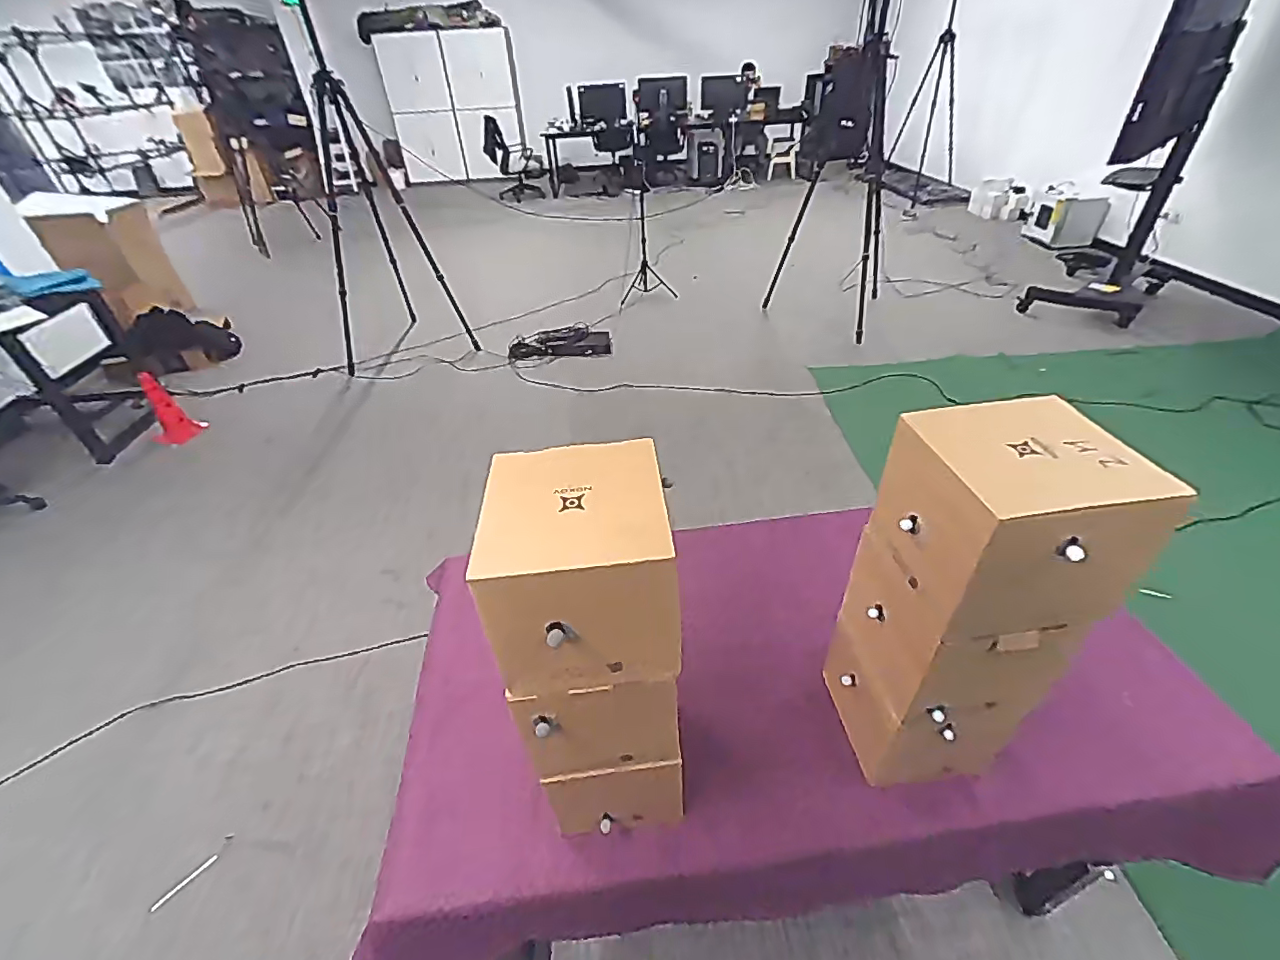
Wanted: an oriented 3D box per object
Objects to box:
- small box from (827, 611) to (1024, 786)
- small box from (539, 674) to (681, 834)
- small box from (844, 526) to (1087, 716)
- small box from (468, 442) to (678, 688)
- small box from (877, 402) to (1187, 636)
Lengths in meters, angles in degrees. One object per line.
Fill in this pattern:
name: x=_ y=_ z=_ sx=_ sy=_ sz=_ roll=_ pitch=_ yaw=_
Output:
small box: x=0.379 y=0.295 z=0.760 sx=0.168 sy=0.176 sz=0.179 roll=-7 pitch=38 yaw=-2
small box: x=-0.038 y=0.346 z=0.735 sx=0.168 sy=0.176 sz=0.179 roll=-6 pitch=39 yaw=-2
small box: x=0.371 y=0.167 z=0.659 sx=0.168 sy=0.176 sz=0.179 roll=-7 pitch=38 yaw=-4
small box: x=-0.055 y=0.086 z=0.536 sx=0.168 sy=0.176 sz=0.179 roll=-6 pitch=37 yaw=-2
small box: x=0.364 y=0.041 z=0.552 sx=0.179 sy=0.176 sz=0.168 roll=-6 pitch=40 yaw=-3
